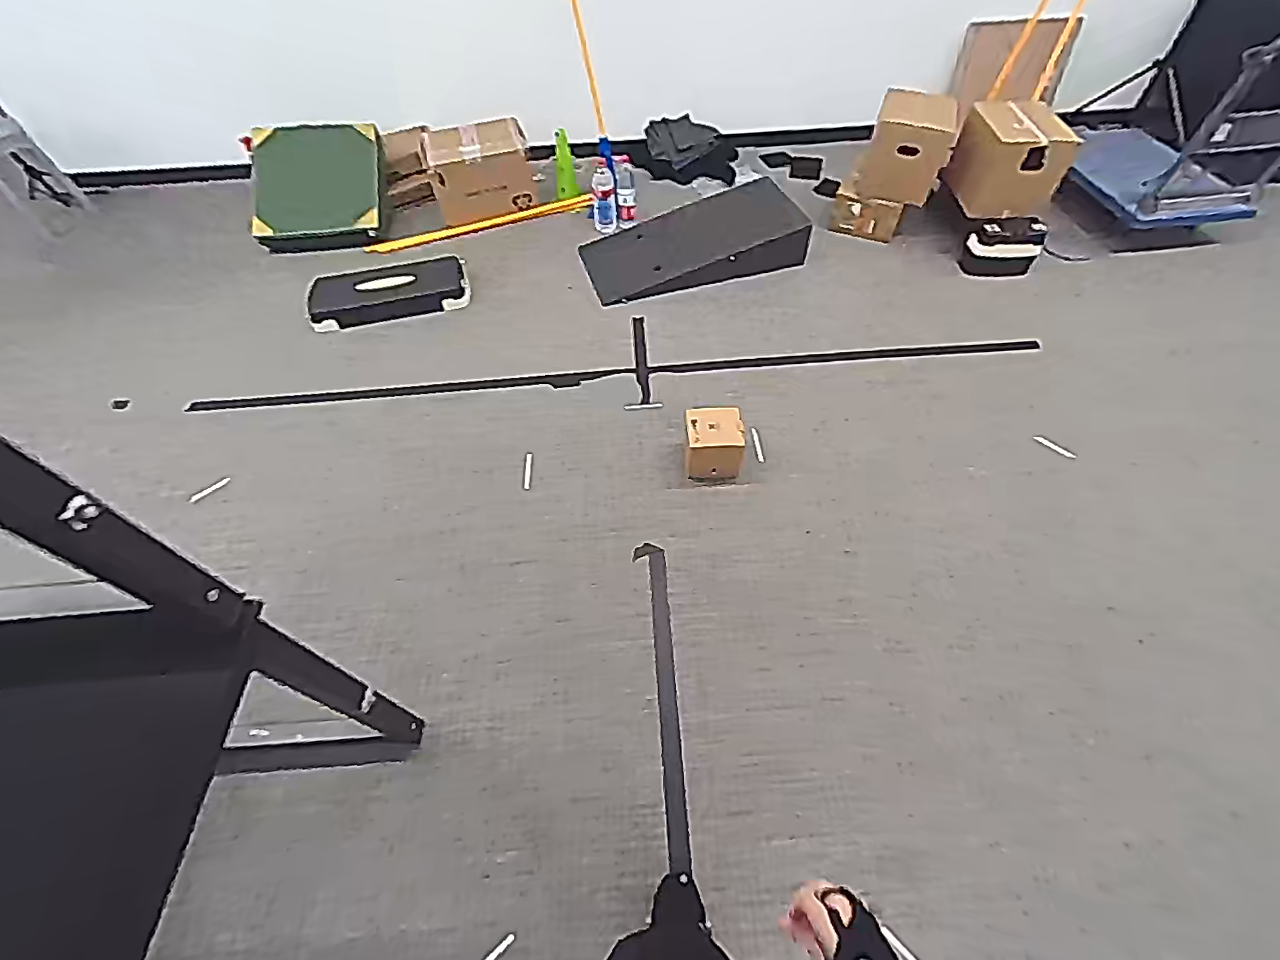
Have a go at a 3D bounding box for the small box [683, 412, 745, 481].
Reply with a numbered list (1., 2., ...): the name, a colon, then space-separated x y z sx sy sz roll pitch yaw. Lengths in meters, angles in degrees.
1. small box: 0.240 -0.109 1.789 0.179 0.176 0.168 -1 53 -1
